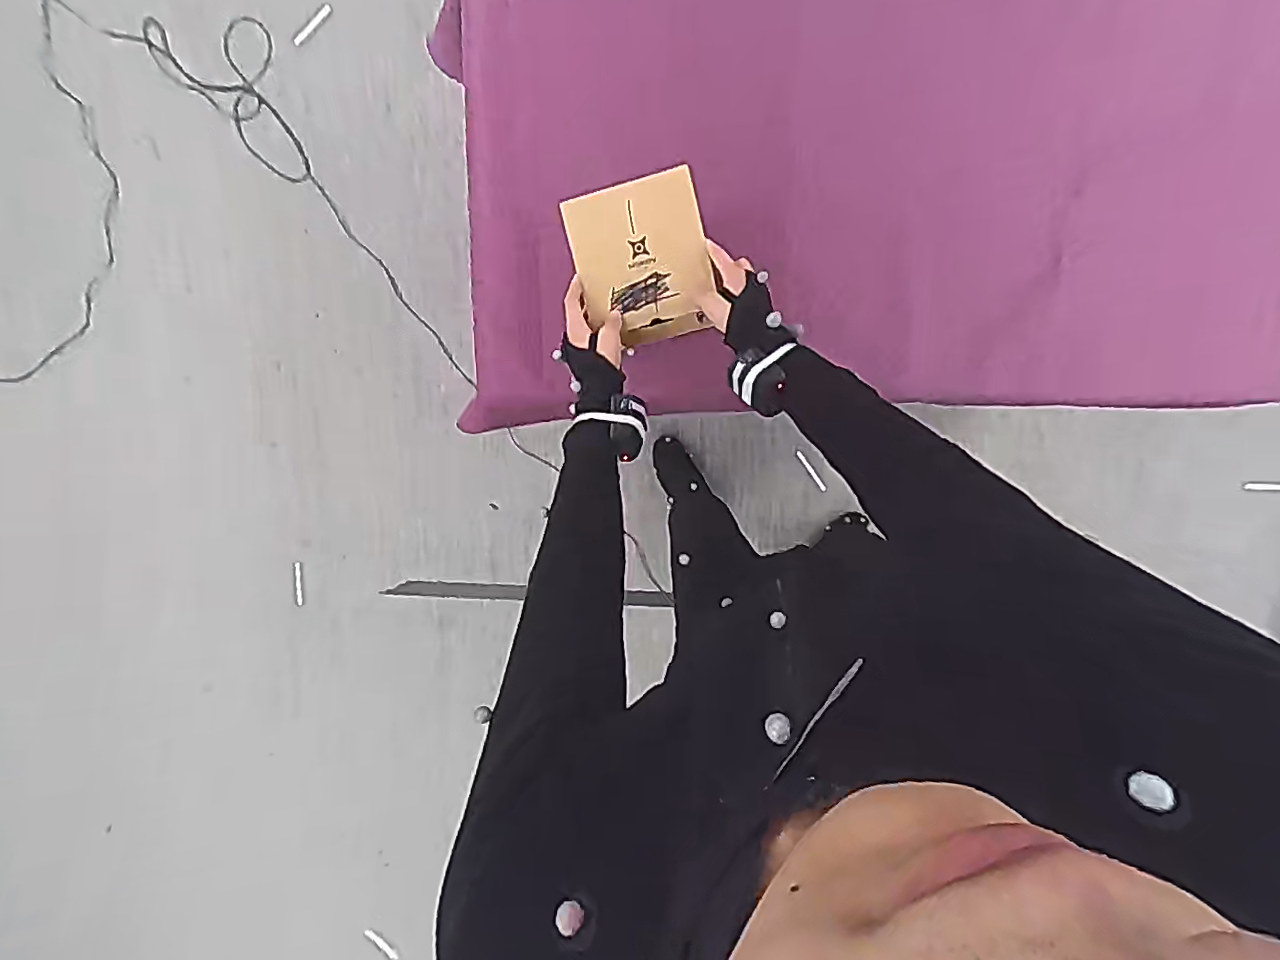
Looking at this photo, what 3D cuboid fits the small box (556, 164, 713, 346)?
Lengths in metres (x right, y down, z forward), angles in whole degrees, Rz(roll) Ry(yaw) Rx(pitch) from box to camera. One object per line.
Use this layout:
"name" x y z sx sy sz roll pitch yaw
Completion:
"small box" 0.000 -0.291 0.747 0.168 0.176 0.179 -14 96 5
